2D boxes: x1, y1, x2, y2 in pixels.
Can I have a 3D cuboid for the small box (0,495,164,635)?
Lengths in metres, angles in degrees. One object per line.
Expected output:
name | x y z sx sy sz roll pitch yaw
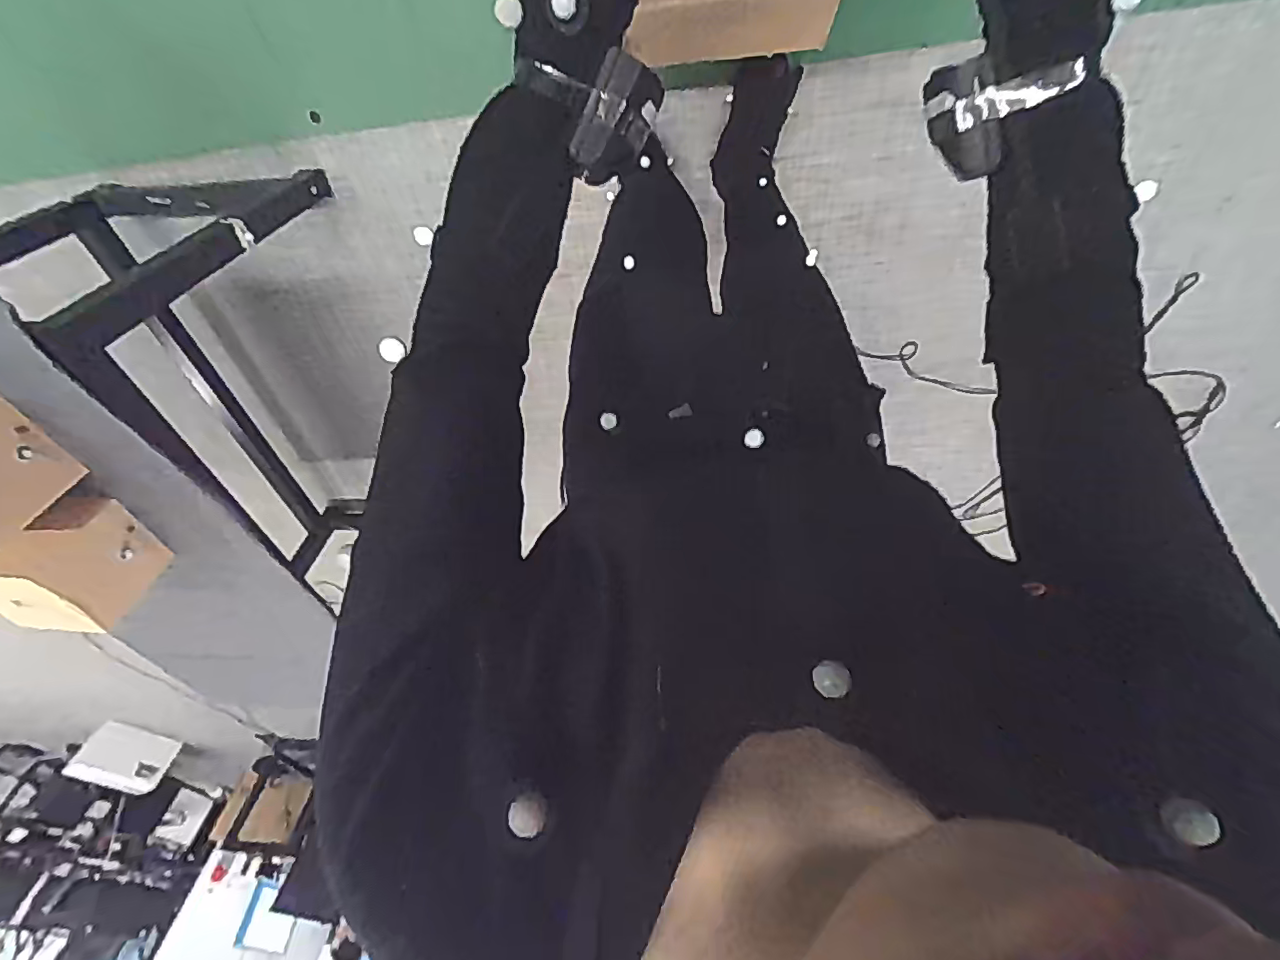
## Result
small box | -0.990 0.141 0.922 0.179 0.176 0.168 3 135 5
